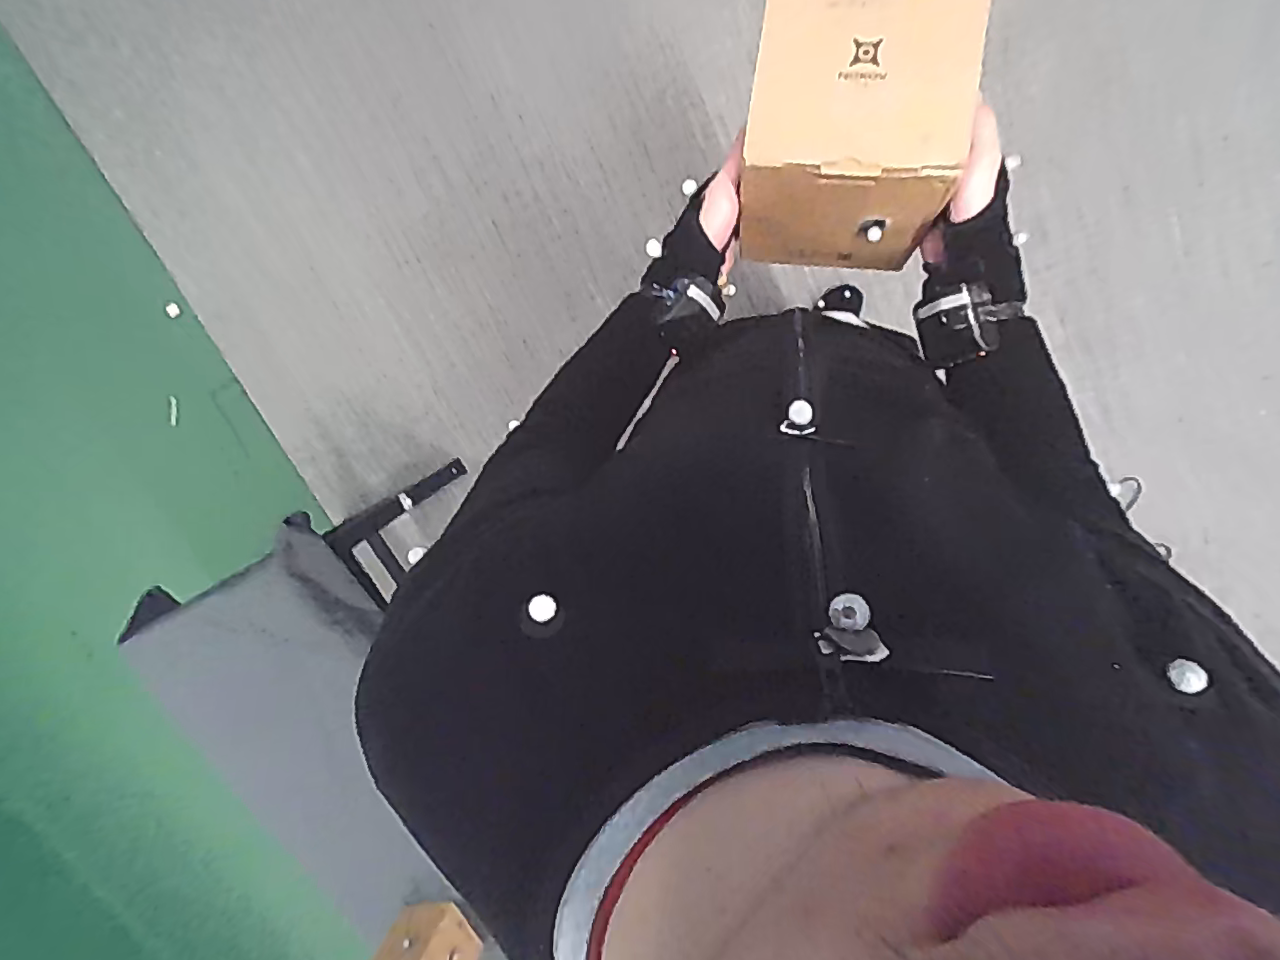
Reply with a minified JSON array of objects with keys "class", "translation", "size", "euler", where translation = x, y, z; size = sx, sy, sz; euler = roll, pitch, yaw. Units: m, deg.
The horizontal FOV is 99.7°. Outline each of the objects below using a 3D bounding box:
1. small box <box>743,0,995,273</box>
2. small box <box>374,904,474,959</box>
[{"class":"small box","translation":[0.188,-0.310,0.492],"size":[0.168,0.176,0.179],"euler":[9,85,9]},{"class":"small box","translation":[-0.533,1.180,1.324],"size":[0.179,0.176,0.168],"euler":[-22,103,19]}]
